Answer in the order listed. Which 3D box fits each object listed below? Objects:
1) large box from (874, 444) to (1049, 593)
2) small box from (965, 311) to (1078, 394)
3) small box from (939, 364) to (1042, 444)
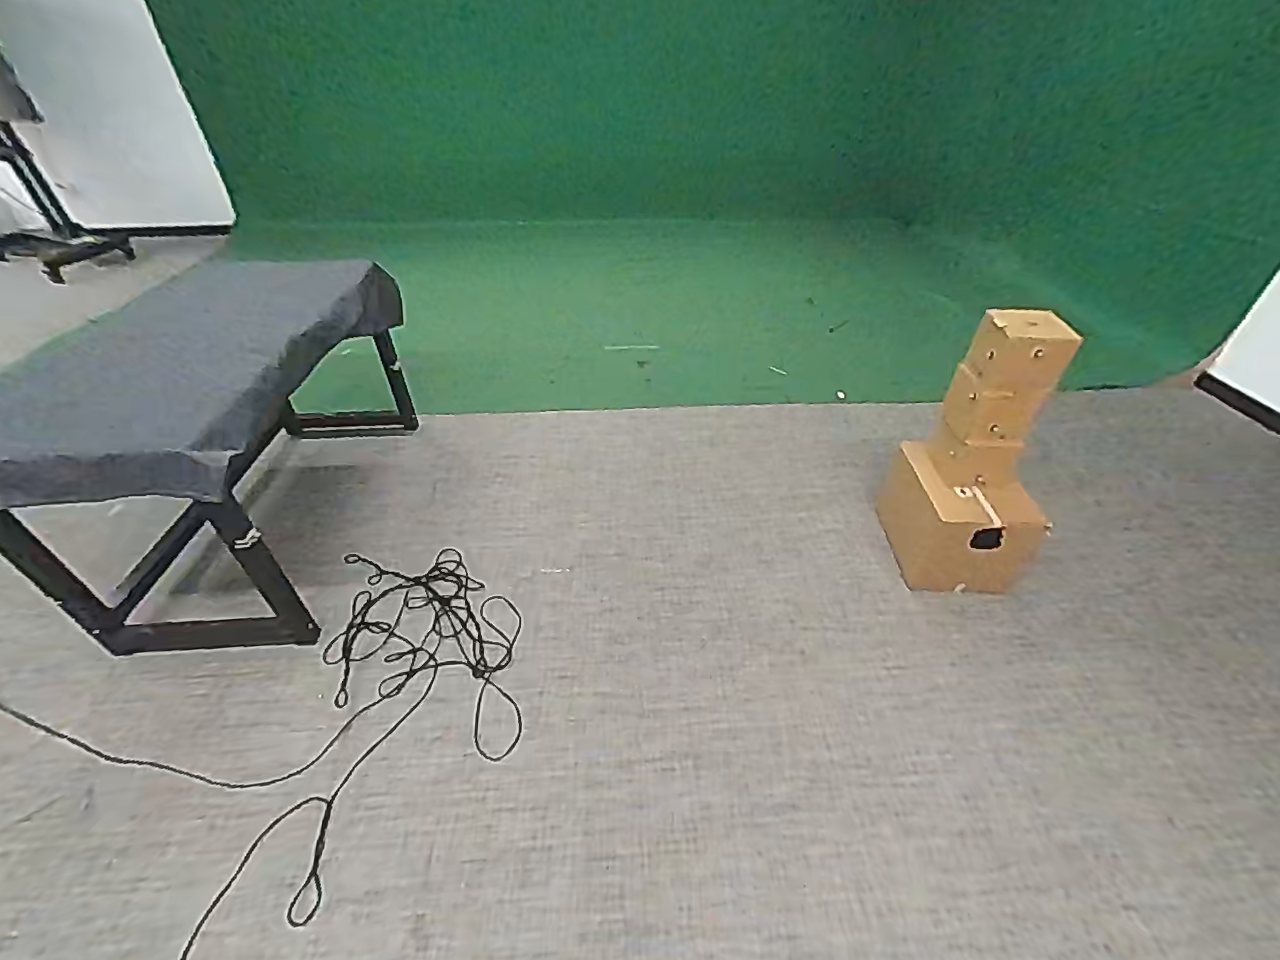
[{"bbox_3d":[1.031,0.123,1.804,0.320,0.320,0.408,1,41,2],"label":"large box"},{"bbox_3d":[1.026,-0.349,1.480,0.179,0.176,0.168,3,42,2],"label":"small box"},{"bbox_3d":[1.015,-0.224,1.585,0.168,0.176,0.179,0,41,0],"label":"small box"}]
